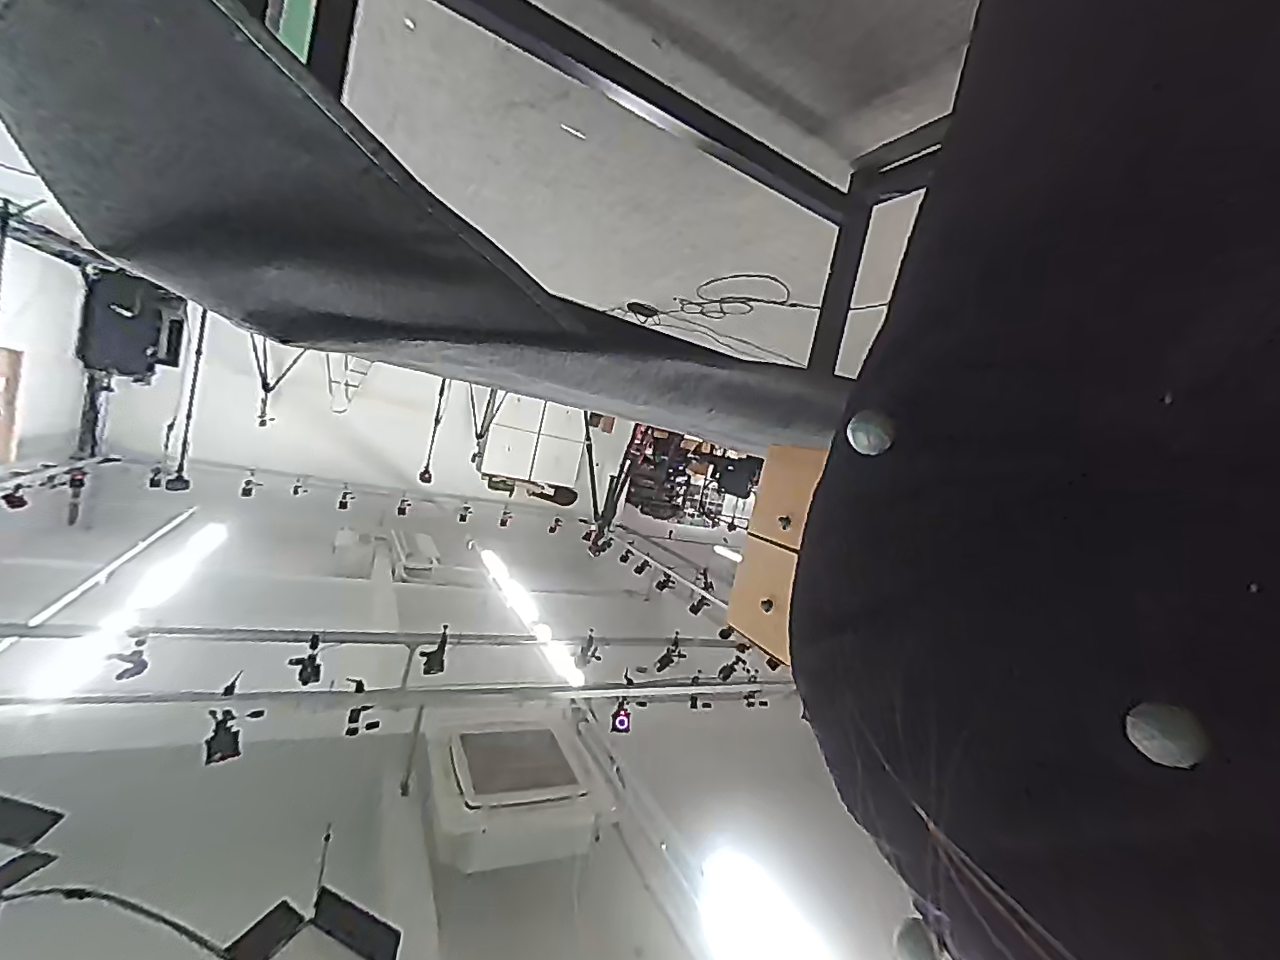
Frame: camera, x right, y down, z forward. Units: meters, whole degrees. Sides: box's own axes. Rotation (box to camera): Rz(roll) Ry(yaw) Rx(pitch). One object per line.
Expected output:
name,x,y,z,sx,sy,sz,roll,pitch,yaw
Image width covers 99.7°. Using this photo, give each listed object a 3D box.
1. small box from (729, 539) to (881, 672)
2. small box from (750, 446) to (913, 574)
small box,0.275,0.202,0.901,0.168,0.176,0.179,12,-178,-24
small box,0.315,0.043,0.897,0.168,0.176,0.179,12,-177,-25
